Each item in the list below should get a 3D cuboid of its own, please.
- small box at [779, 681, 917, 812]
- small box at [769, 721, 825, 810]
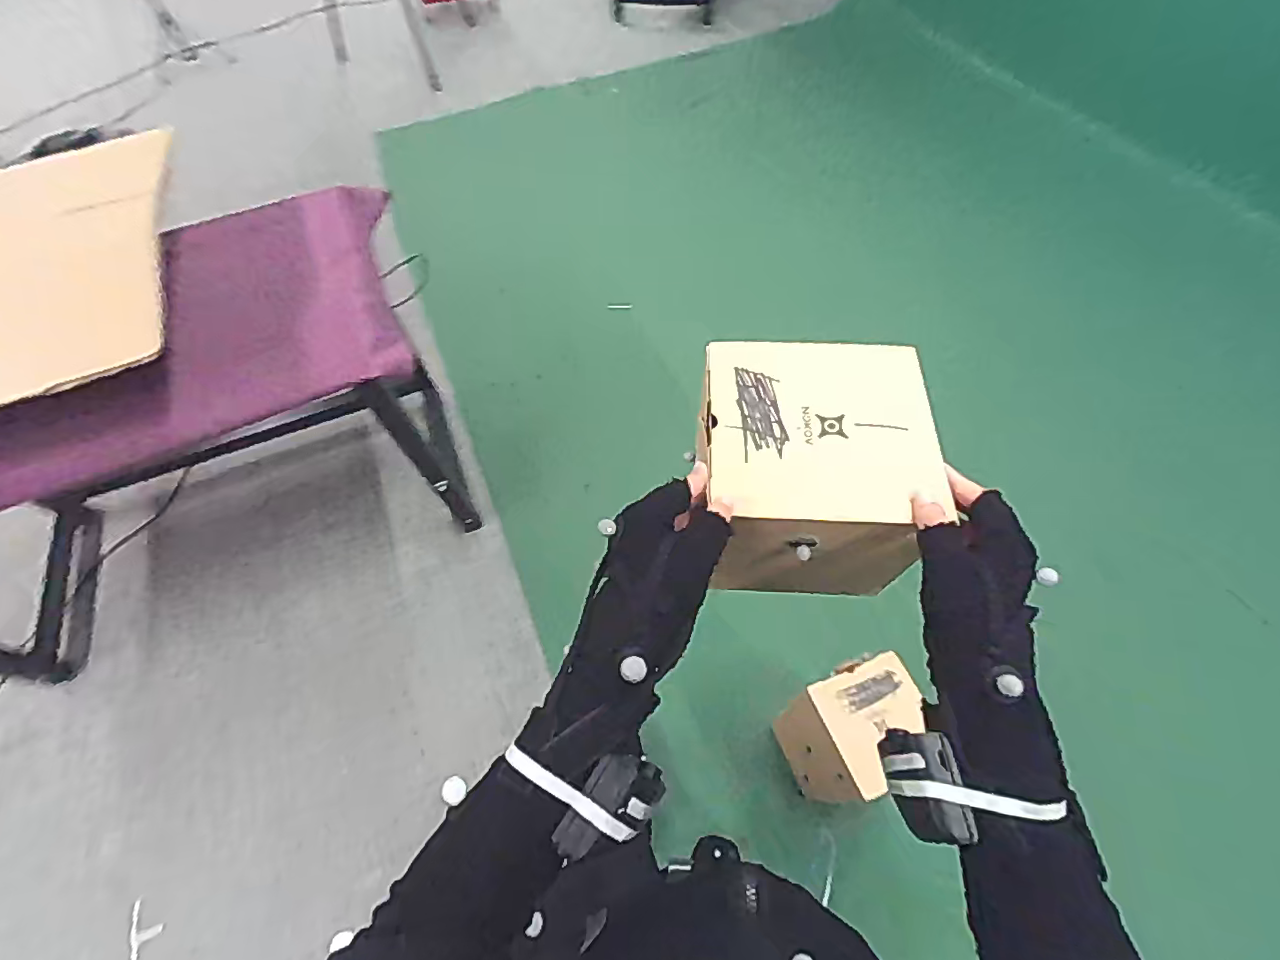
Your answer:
[{"bbox_3d":[0.393,0.521,1.056,0.168,0.176,0.179,-19,59,-8],"label":"small box"},{"bbox_3d":[0.406,0.602,1.197,0.168,0.176,0.179,-20,60,-9],"label":"small box"}]
